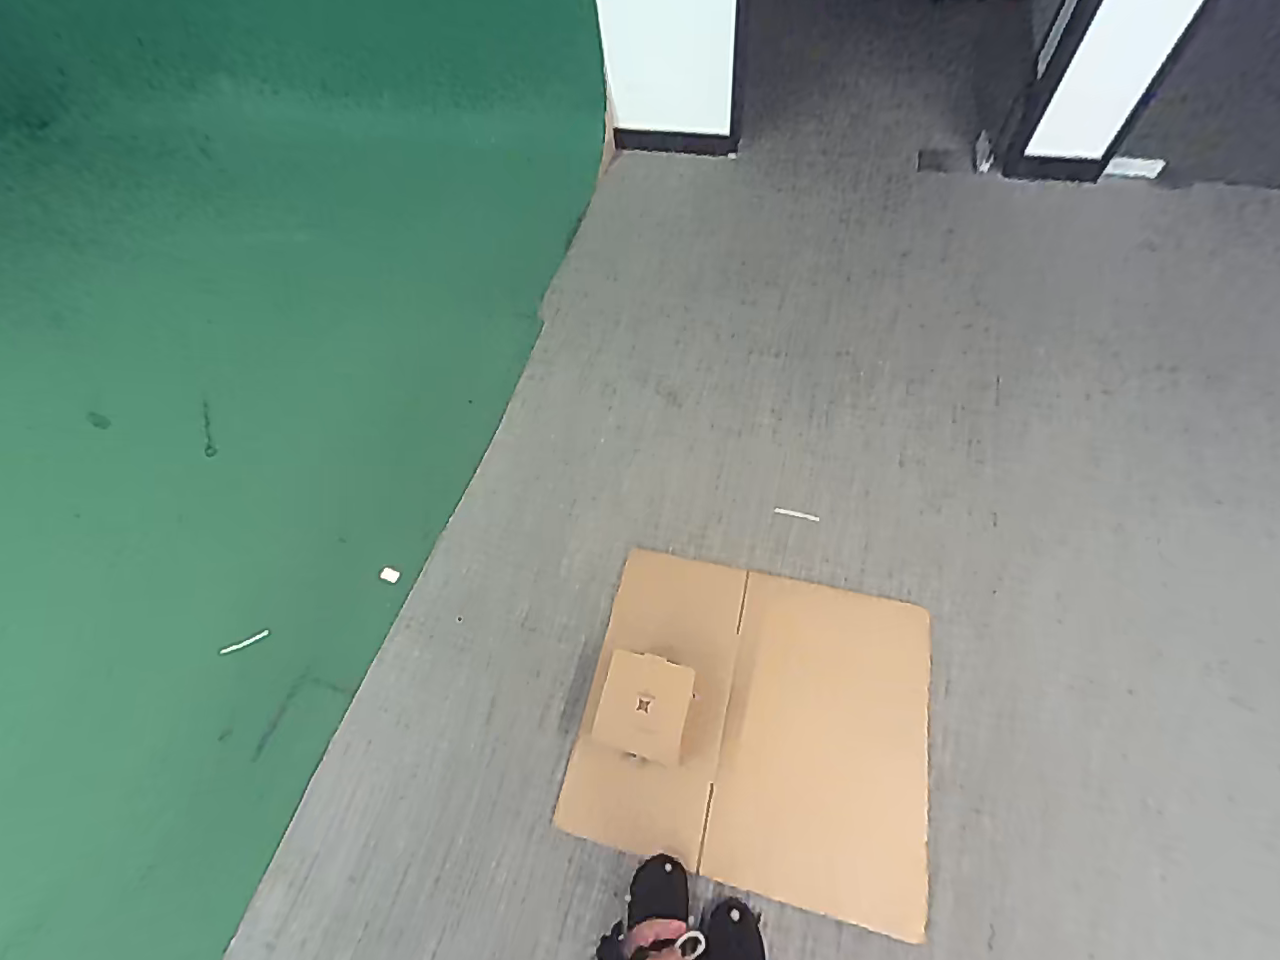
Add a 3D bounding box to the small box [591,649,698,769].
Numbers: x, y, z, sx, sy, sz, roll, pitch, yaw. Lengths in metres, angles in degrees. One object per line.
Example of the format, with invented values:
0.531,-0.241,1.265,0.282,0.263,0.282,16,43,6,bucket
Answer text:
0.016,0.459,1.079,0.168,0.176,0.179,11,64,13,small box
